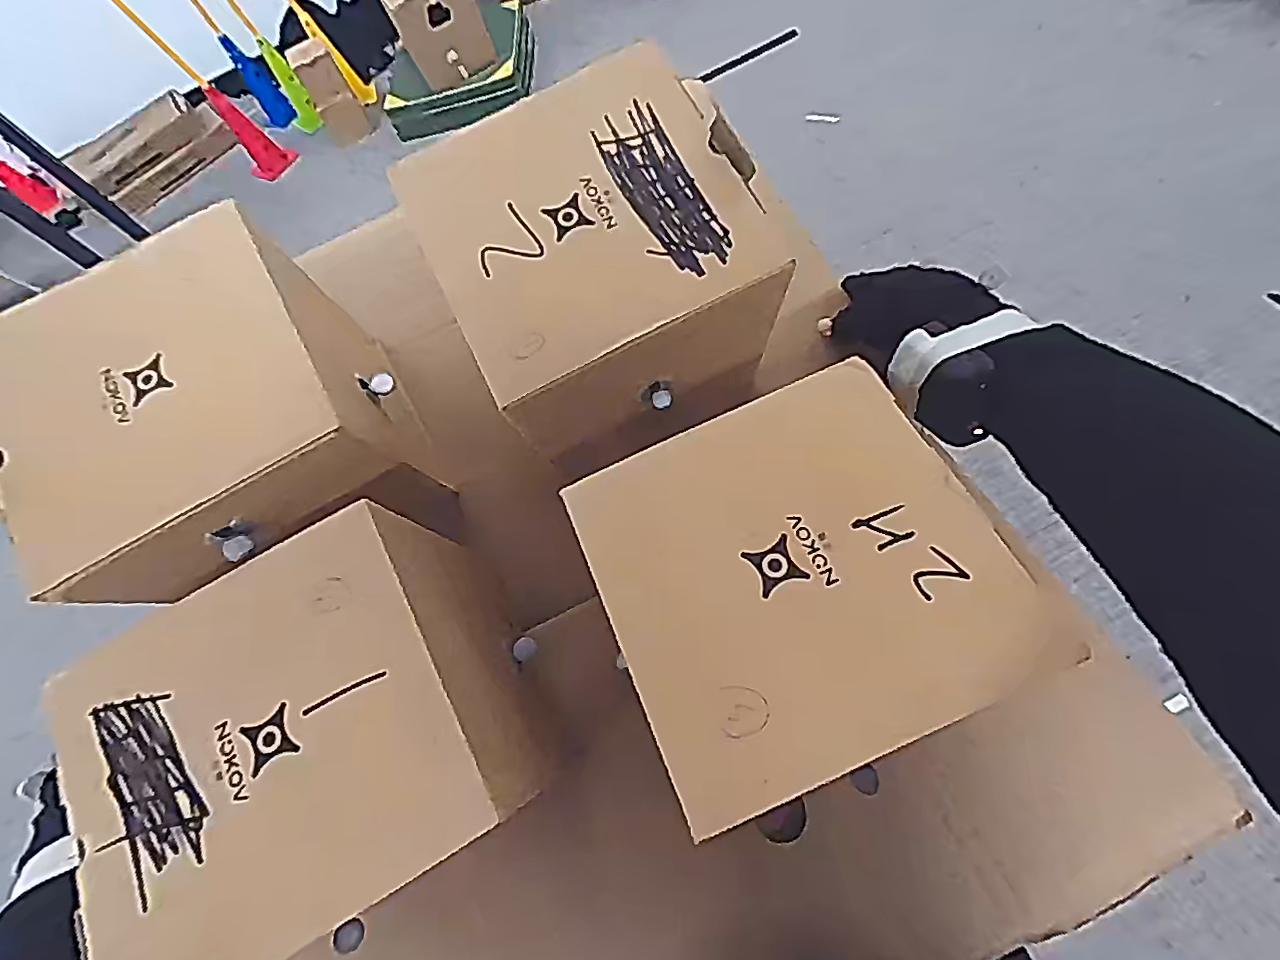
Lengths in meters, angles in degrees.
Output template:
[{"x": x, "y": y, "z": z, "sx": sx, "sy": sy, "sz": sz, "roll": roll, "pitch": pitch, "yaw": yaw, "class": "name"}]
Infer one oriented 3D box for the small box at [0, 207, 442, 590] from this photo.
[{"x": -0.265, "y": -0.037, "z": 0.379, "sx": 0.179, "sy": 0.176, "sz": 0.168, "roll": -31, "pitch": 77, "yaw": -3, "class": "small box"}]
